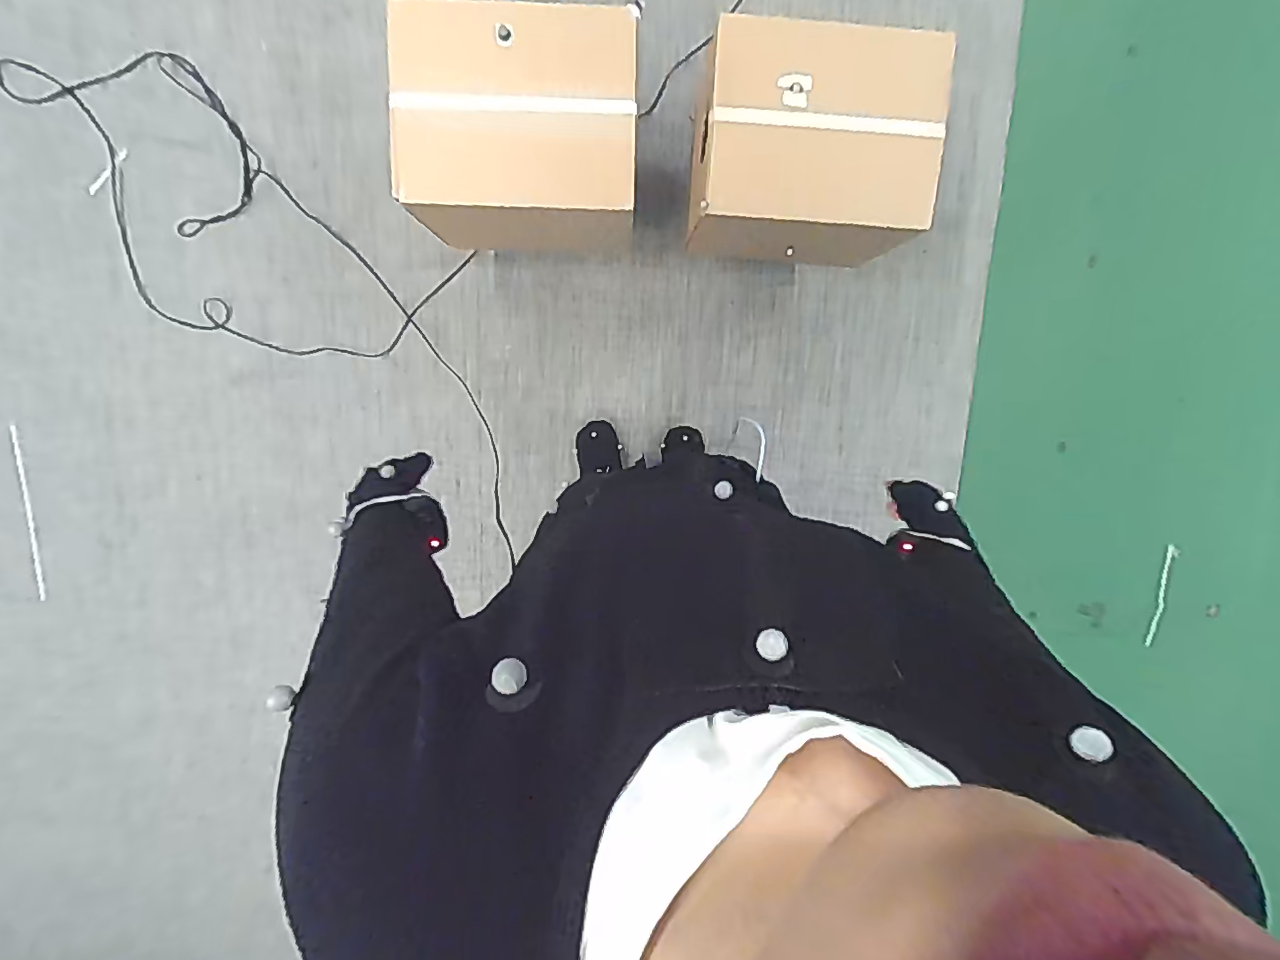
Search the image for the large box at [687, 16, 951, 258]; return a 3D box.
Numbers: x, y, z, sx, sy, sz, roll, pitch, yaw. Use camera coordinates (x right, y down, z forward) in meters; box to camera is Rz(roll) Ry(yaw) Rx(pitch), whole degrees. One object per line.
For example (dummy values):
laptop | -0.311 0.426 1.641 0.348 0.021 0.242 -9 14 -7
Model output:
large box | 0.319 -0.642 1.078 0.408 0.320 0.320 4 100 -2
